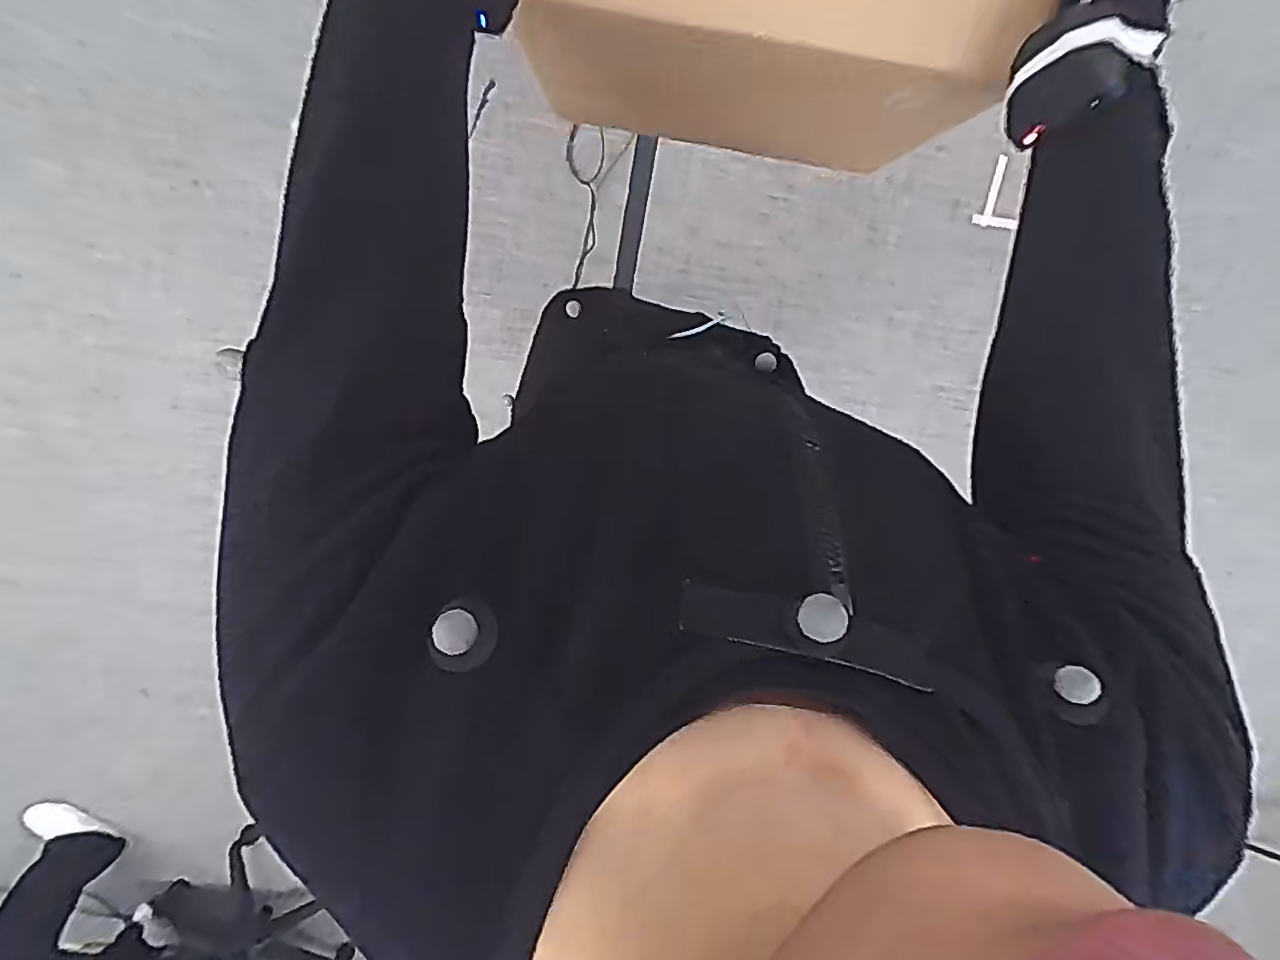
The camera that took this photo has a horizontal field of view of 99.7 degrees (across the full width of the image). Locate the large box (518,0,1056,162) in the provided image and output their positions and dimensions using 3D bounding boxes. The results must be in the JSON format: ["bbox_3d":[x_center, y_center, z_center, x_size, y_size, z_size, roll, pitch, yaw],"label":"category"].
[{"bbox_3d":[0.118,-0.520,0.485,0.408,0.320,0.320,9,110,-3],"label":"large box"}]
